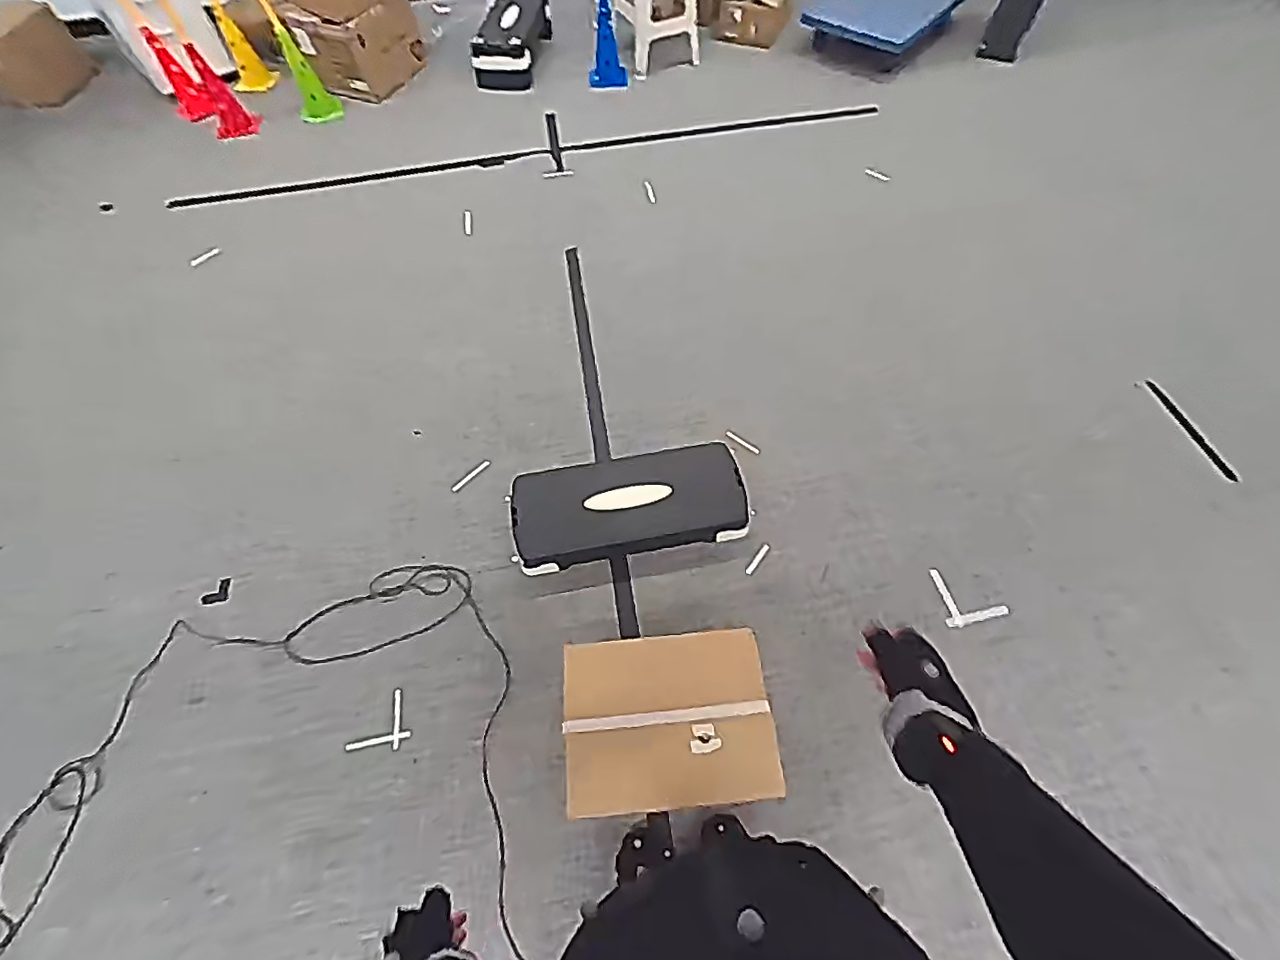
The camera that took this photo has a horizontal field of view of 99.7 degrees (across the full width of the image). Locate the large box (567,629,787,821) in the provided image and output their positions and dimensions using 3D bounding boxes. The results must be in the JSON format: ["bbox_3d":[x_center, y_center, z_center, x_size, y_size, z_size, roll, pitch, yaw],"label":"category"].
[{"bbox_3d":[0.060,0.541,1.187,0.408,0.320,0.320,-5,60,-2],"label":"large box"}]
